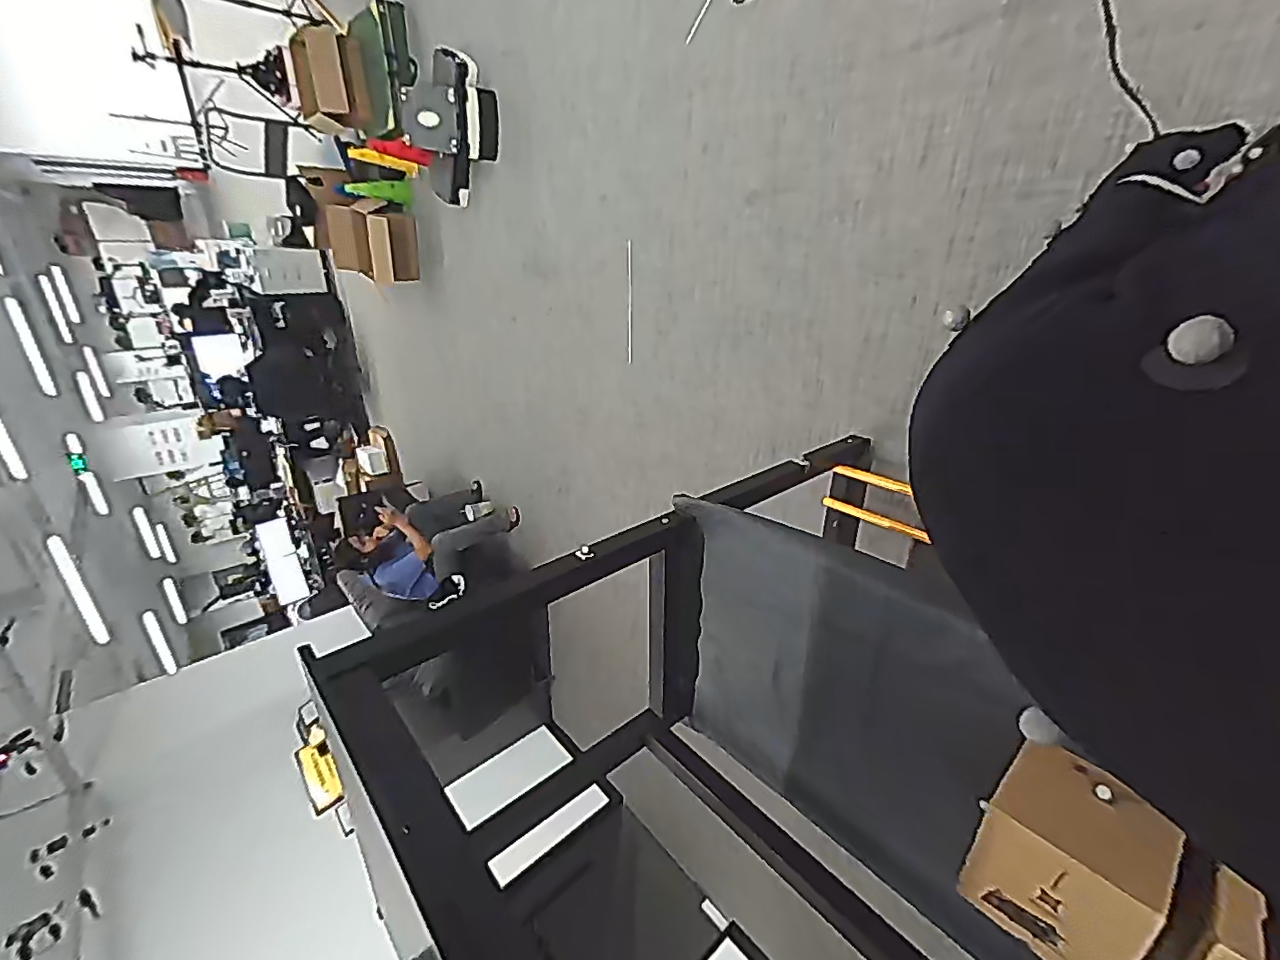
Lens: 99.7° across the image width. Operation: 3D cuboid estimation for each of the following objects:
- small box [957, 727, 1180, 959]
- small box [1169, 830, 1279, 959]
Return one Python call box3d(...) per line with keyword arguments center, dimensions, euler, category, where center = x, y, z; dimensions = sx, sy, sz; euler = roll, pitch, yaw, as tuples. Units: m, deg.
box3d(center=(0.538, 0.462, 0.684), dimensions=(0.168, 0.176, 0.179), euler=(24, 123, 43), category="small box")
box3d(center=(0.668, 0.510, 0.544), dimensions=(0.168, 0.176, 0.179), euler=(24, 124, 44), category="small box")
